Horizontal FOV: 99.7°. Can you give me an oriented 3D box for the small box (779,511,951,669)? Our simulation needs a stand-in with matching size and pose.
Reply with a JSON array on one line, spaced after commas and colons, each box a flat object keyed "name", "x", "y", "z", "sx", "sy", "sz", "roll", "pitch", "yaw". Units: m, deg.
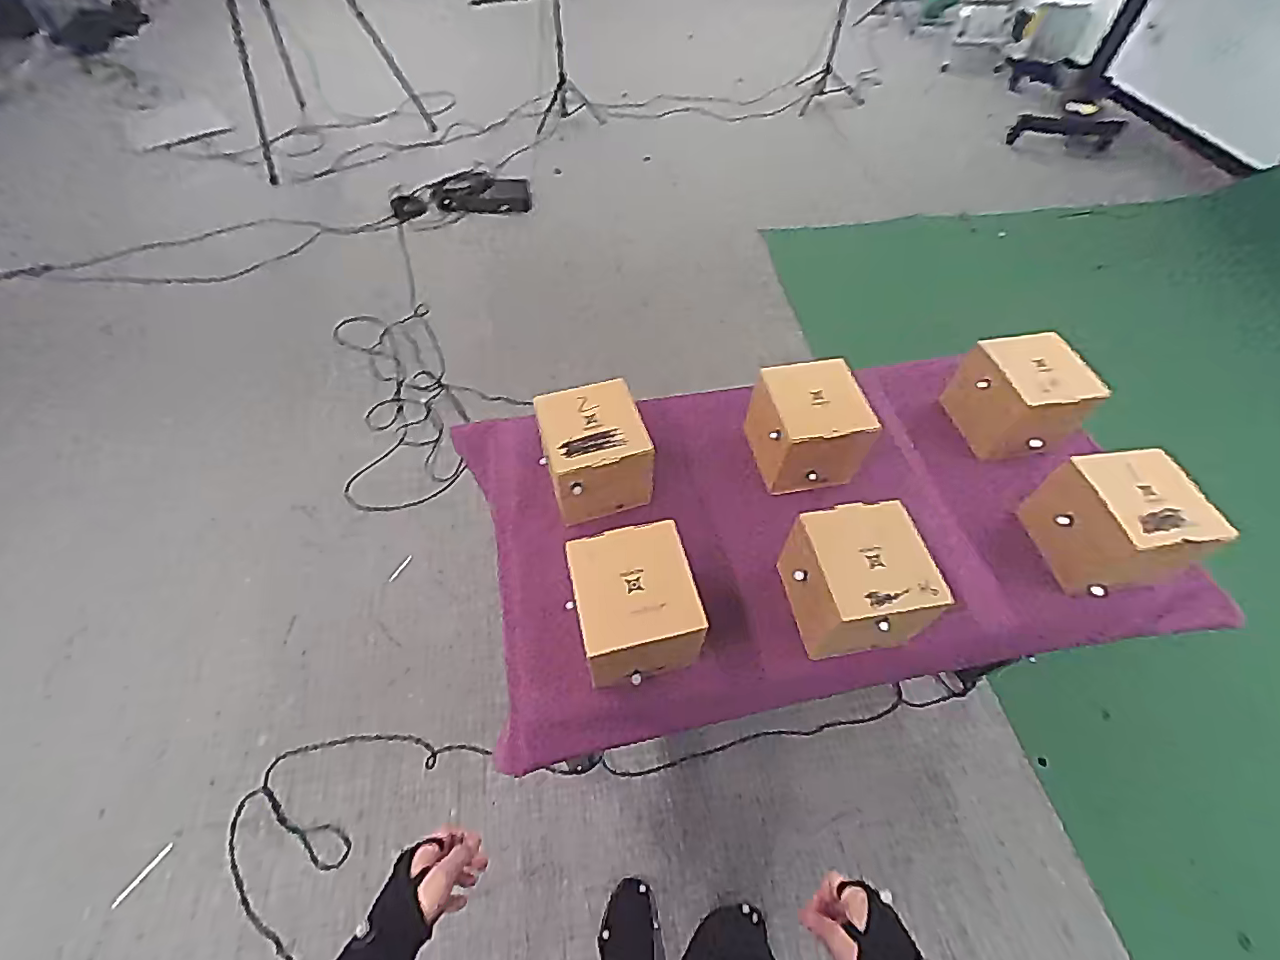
[{"name": "small box", "x": 0.332, "y": 0.172, "z": 0.844, "sx": 0.168, "sy": 0.176, "sz": 0.179, "roll": -7, "pitch": 54, "yaw": -6}]

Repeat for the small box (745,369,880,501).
[{"name": "small box", "x": 0.312, "y": -0.083, "z": 1.025, "sx": 0.168, "sy": 0.176, "sz": 0.179, "roll": -8, "pitch": 57, "yaw": -8}]

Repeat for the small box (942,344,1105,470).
[{"name": "small box", "x": 0.745, "y": -0.143, "z": 1.078, "sx": 0.168, "sy": 0.176, "sz": 0.179, "roll": -8, "pitch": 57, "yaw": -6}]

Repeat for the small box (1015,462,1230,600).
[{"name": "small box", "x": 0.792, "y": 0.093, "z": 0.914, "sx": 0.168, "sy": 0.176, "sz": 0.179, "roll": -5, "pitch": 54, "yaw": -5}]
